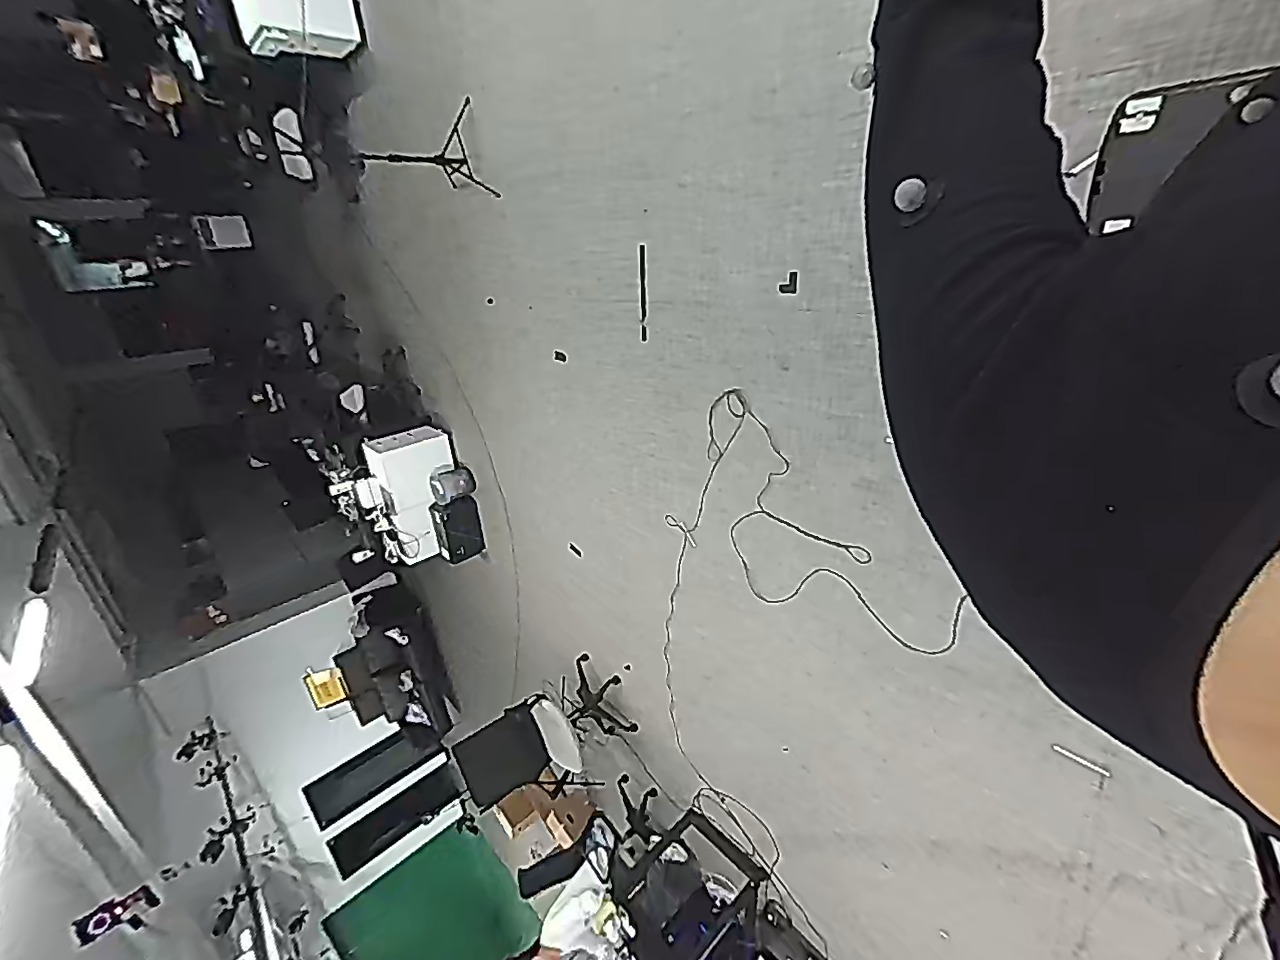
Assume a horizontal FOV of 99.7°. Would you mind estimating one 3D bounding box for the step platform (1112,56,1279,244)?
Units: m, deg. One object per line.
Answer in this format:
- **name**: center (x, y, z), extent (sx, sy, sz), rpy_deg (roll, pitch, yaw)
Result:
- **step platform**: center (1.216, -0.555, 0.870), extent (0.684, 0.204, 0.286), rpy_deg (18, 123, 44)
